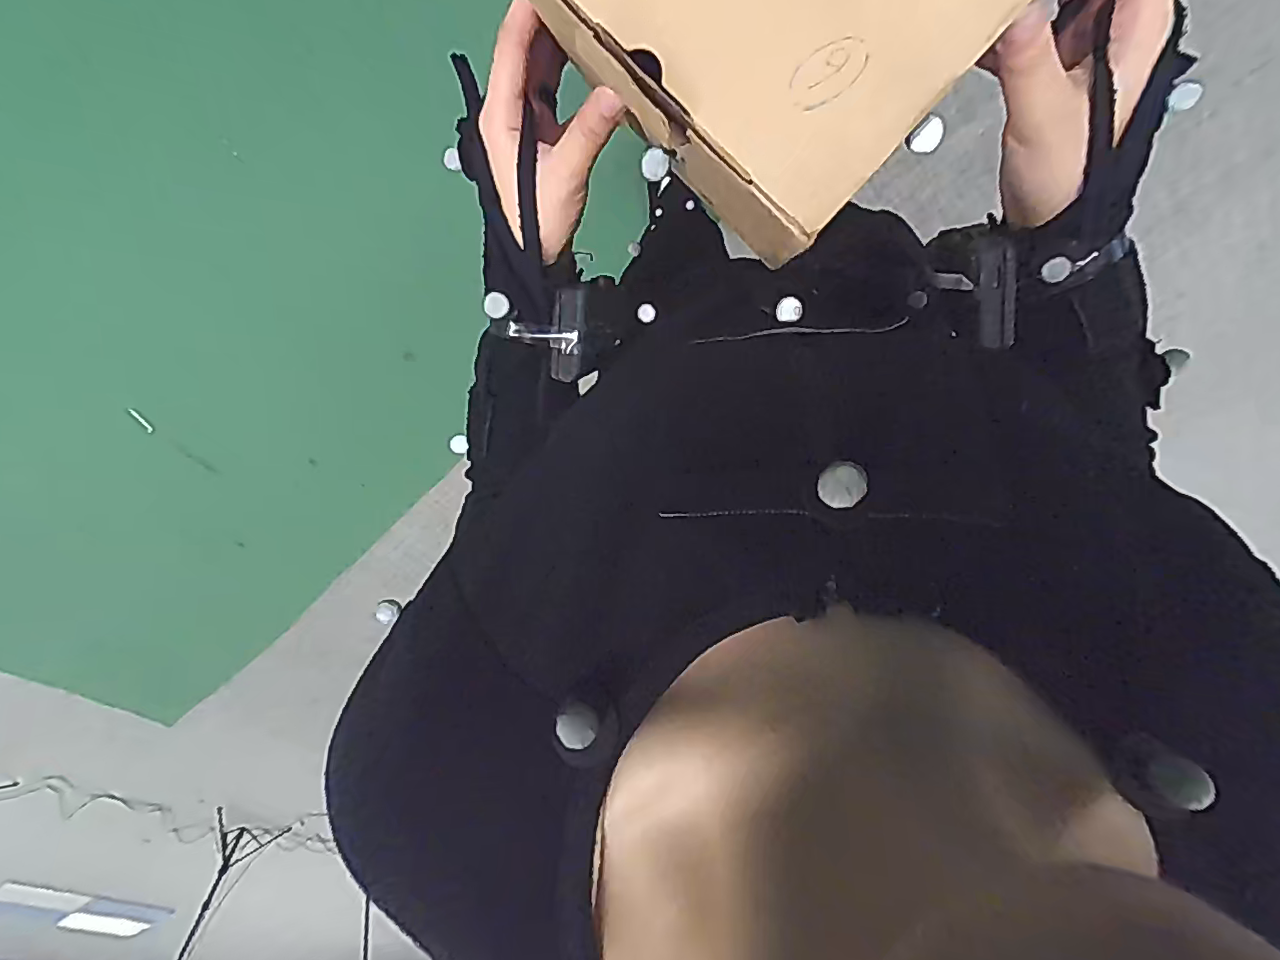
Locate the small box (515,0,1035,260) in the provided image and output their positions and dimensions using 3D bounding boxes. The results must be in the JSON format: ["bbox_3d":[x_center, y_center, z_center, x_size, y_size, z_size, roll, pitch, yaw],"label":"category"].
[{"bbox_3d":[0.070,-0.222,0.243,0.168,0.176,0.179,42,111,-5],"label":"small box"}]
